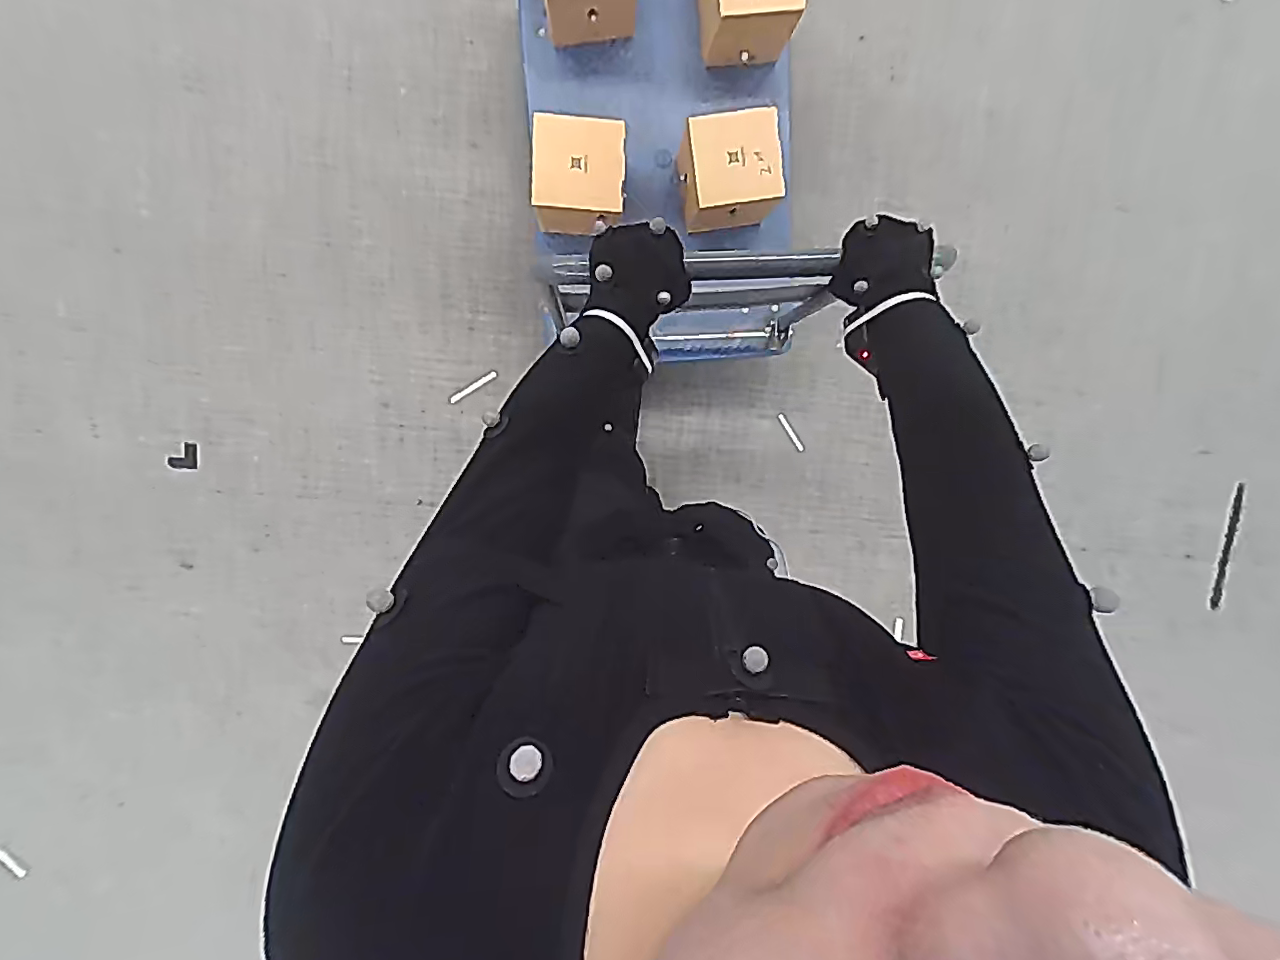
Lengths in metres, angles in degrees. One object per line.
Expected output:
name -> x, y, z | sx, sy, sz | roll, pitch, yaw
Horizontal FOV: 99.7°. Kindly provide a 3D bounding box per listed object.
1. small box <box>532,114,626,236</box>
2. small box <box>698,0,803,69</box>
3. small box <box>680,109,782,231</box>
small box -> -0.123, -0.616, 1.112 | 0.179, 0.176, 0.168 | 2, 98, -6
small box -> 0.213, -0.970, 1.081 | 0.168, 0.176, 0.179 | -7, 100, -3
small box -> 0.181, -0.637, 1.131 | 0.179, 0.176, 0.168 | -9, 100, -3
